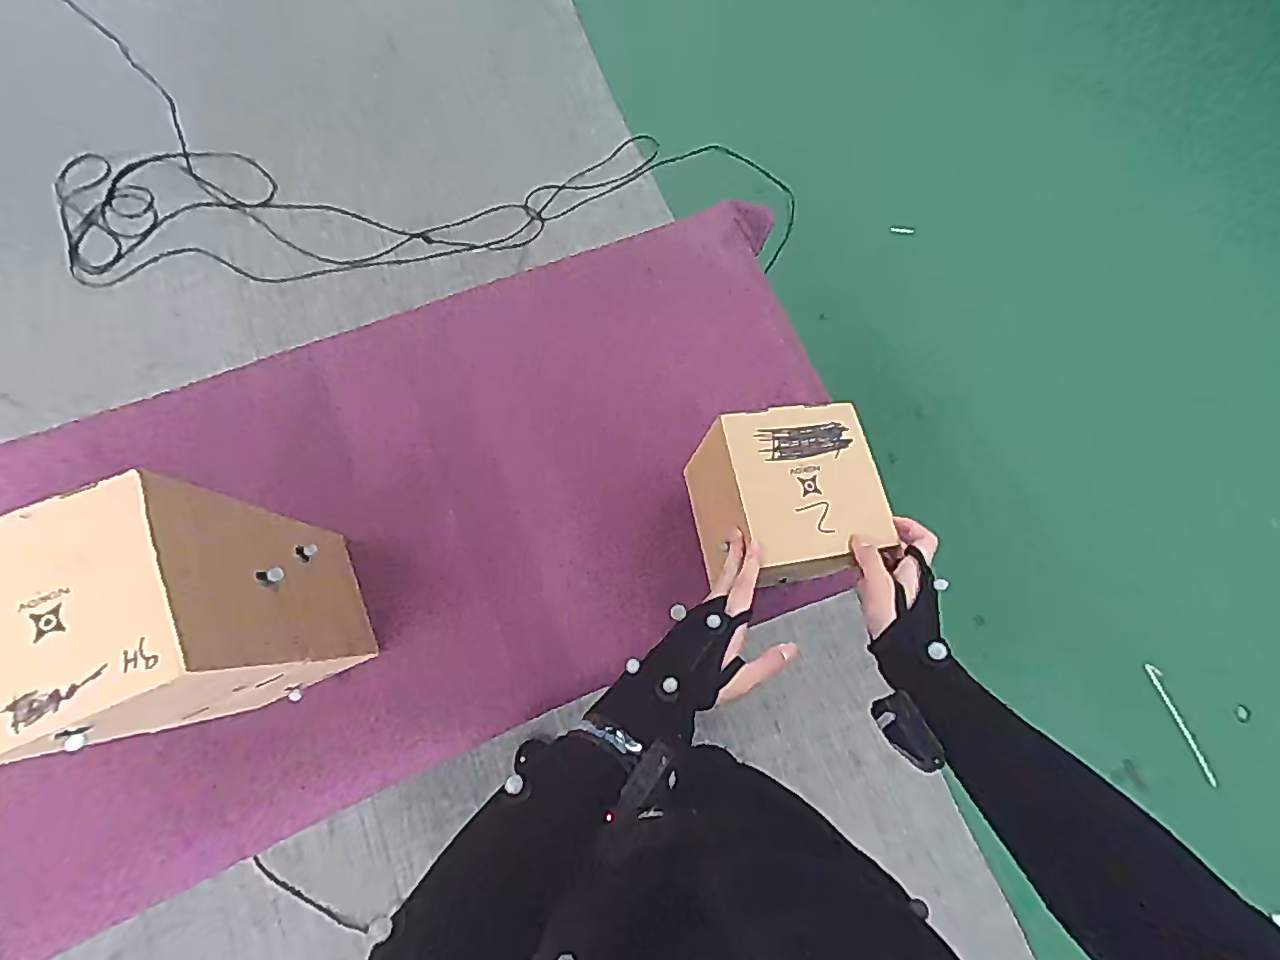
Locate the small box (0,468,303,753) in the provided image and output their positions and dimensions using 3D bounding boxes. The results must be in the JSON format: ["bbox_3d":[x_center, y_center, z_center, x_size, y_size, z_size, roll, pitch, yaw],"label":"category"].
[{"bbox_3d":[-0.444,0.117,0.483,0.168,0.176,0.179,-23,77,-8],"label":"small box"}]

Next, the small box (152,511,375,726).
[{"bbox_3d":[-0.449,0.160,0.641,0.168,0.176,0.179,-23,78,-7],"label":"small box"}]
